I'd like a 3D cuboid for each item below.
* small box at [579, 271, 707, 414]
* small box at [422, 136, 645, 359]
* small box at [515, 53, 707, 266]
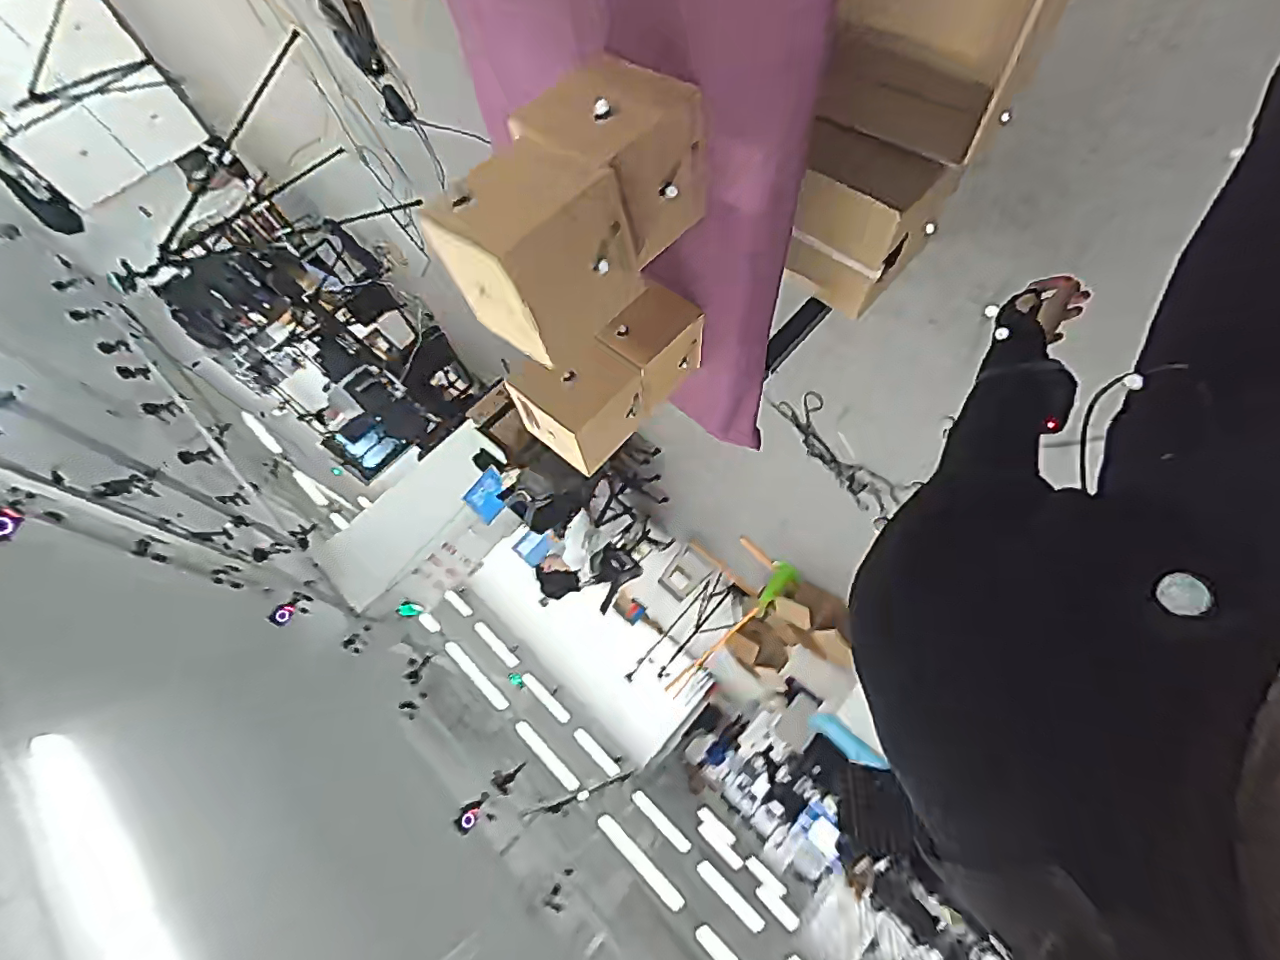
[{"bbox_3d":[0.005,-0.267,1.032,0.179,0.176,0.168,39,163,19],"label":"small box"},{"bbox_3d":[-0.121,-0.289,0.665,0.179,0.176,0.168,36,163,30],"label":"small box"},{"bbox_3d":[-0.025,-0.418,0.711,0.179,0.176,0.168,38,163,24],"label":"small box"}]
